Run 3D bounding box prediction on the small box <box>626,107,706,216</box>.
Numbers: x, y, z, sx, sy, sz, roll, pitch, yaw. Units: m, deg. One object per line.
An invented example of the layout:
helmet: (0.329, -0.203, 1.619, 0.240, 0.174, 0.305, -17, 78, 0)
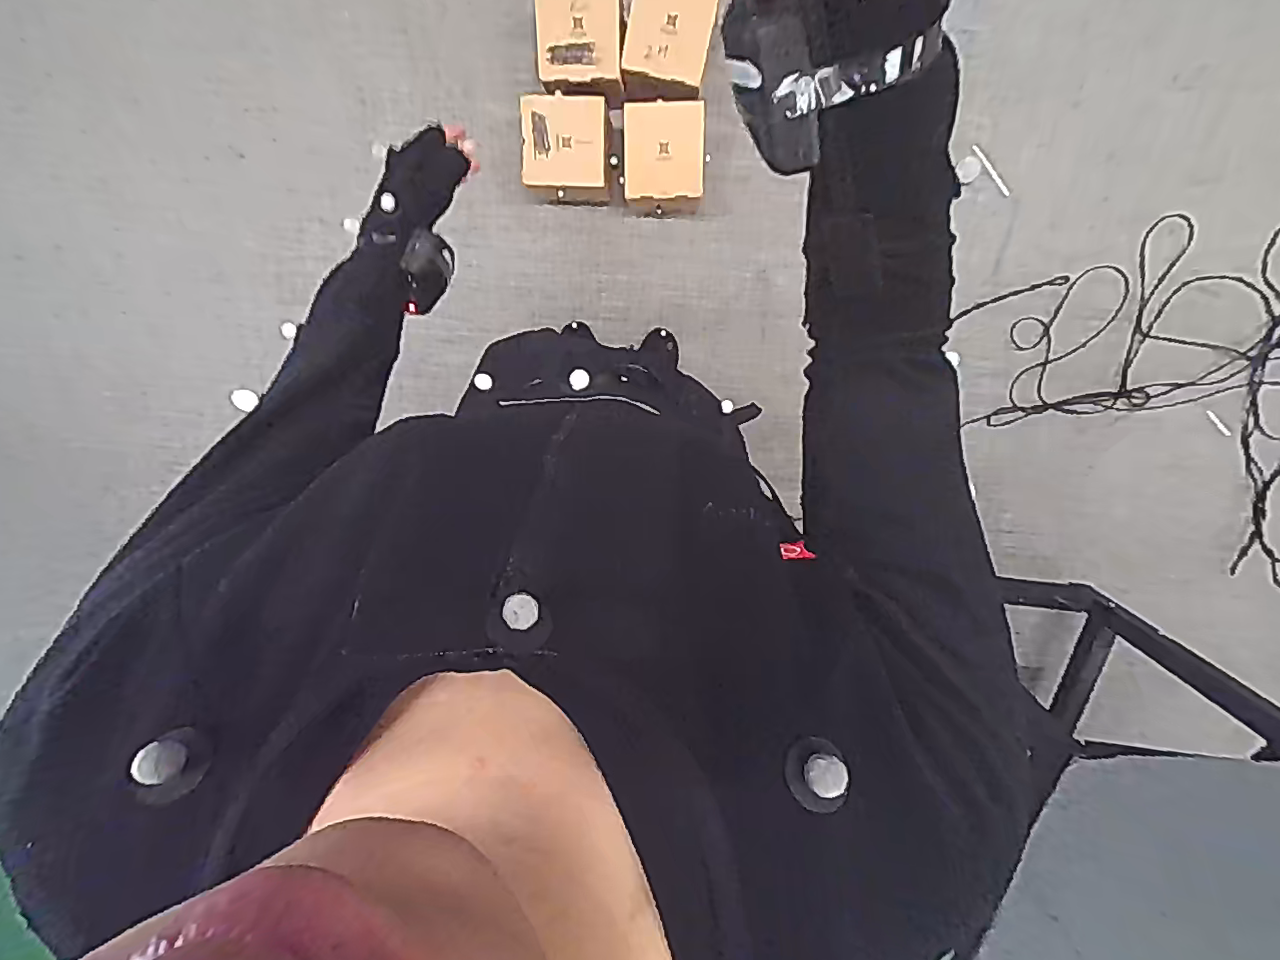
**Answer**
small box: (0.056, -0.695, 1.195, 0.168, 0.176, 0.179, 0, 108, 3)
